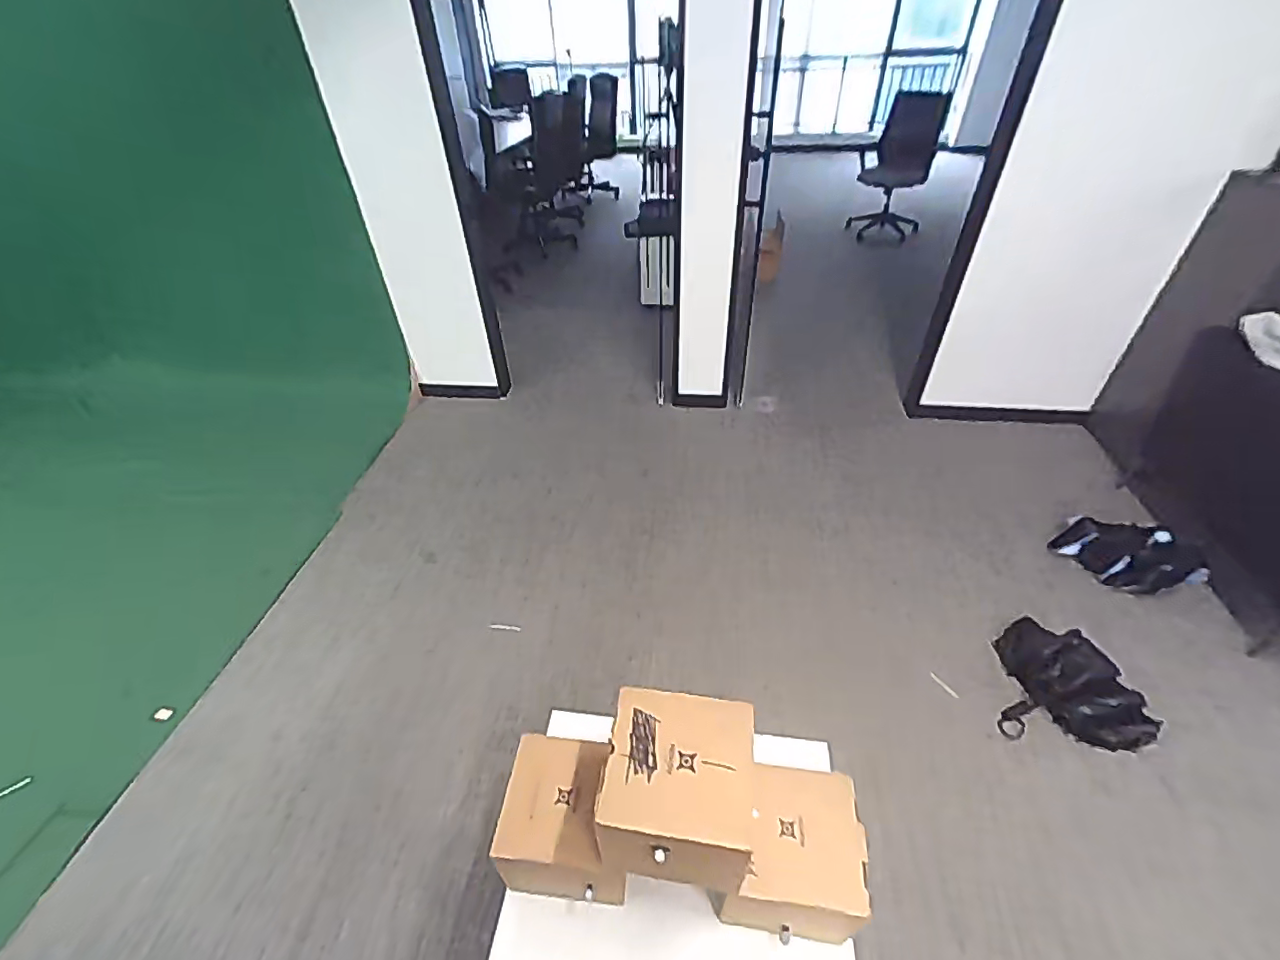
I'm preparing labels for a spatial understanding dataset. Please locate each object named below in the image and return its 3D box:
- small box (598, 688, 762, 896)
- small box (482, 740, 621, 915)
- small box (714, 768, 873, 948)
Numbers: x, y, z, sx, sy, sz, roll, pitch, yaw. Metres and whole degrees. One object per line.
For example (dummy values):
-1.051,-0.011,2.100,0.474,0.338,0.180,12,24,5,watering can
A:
0.051,0.389,0.675,0.179,0.176,0.168,6,40,5,small box
-0.108,0.506,0.786,0.179,0.176,0.168,4,38,3,small box
0.203,0.532,0.764,0.179,0.176,0.168,4,40,6,small box
